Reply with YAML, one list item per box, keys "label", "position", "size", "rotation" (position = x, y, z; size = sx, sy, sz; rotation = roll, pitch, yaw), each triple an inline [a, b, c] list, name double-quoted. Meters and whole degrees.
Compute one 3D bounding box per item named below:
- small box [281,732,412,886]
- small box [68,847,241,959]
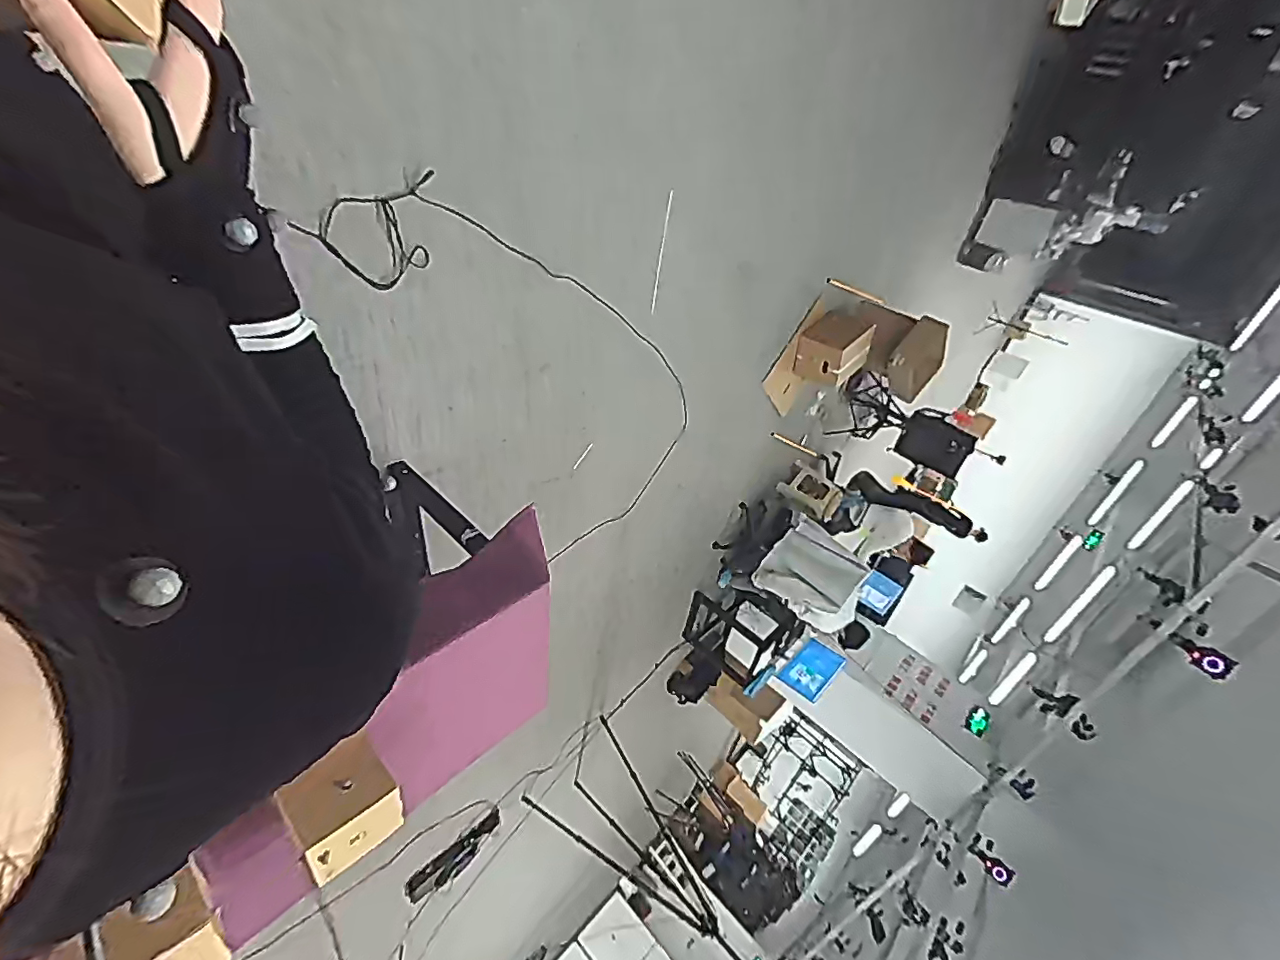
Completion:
- label: "small box"
  position: [-0.598, 0.663, 1.110]
  size: [0.179, 0.176, 0.168]
  rotation: [-26, 138, -42]
- label: "small box"
  position: [-0.812, 0.774, 0.912]
  size: [0.168, 0.176, 0.179]
  rotation: [-24, 137, -43]
